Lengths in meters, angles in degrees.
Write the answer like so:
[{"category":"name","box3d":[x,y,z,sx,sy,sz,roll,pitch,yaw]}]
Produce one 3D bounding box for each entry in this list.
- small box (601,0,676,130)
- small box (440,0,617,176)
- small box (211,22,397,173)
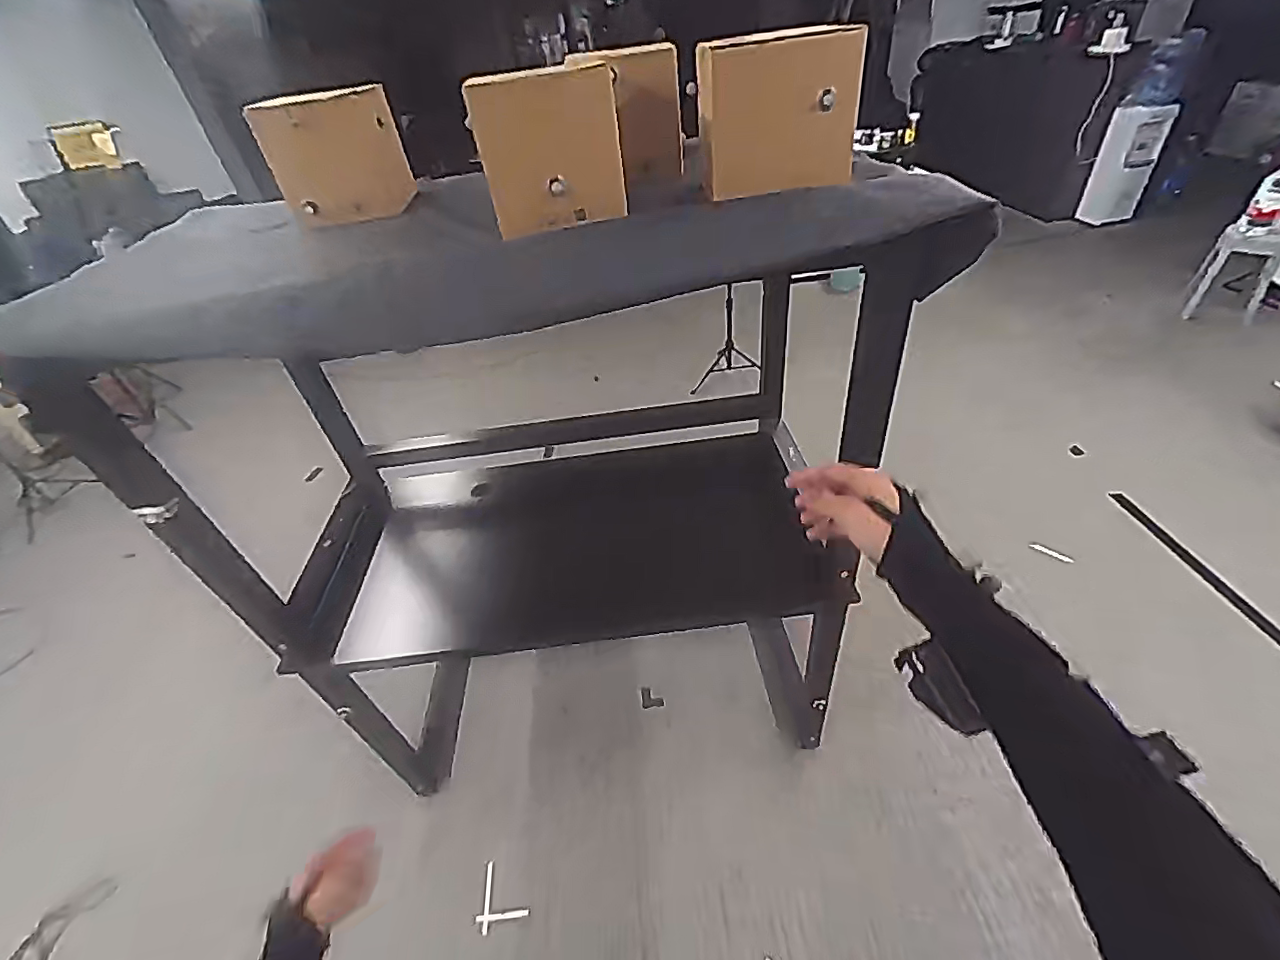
[{"category":"small box","box3d":[-0.036,-0.660,0.848,0.168,0.176,0.179,-7,40,1]},{"category":"small box","box3d":[-0.128,-0.487,0.663,0.168,0.176,0.179,-12,41,-3]},{"category":"small box","box3d":[-0.504,-0.594,0.846,0.168,0.176,0.179,-10,41,-3]}]
